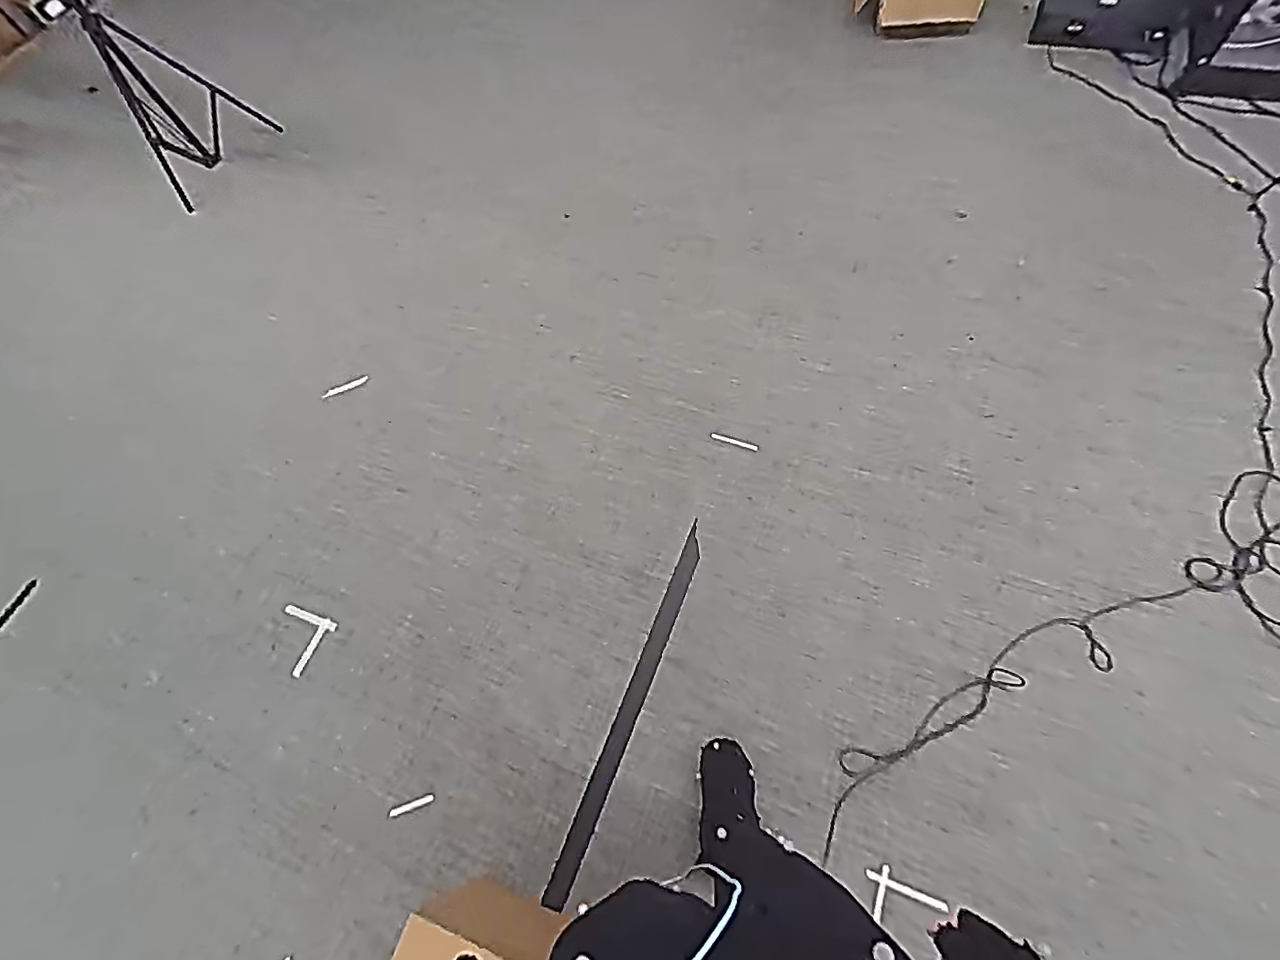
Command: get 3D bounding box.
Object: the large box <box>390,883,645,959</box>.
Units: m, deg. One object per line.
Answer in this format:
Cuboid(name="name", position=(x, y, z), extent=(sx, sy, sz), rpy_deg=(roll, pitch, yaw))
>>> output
Cuboid(name="large box", position=(-0.230, 0.977, 0.933), extent=(0.408, 0.320, 0.320), rpy_deg=(13, 65, 16))
